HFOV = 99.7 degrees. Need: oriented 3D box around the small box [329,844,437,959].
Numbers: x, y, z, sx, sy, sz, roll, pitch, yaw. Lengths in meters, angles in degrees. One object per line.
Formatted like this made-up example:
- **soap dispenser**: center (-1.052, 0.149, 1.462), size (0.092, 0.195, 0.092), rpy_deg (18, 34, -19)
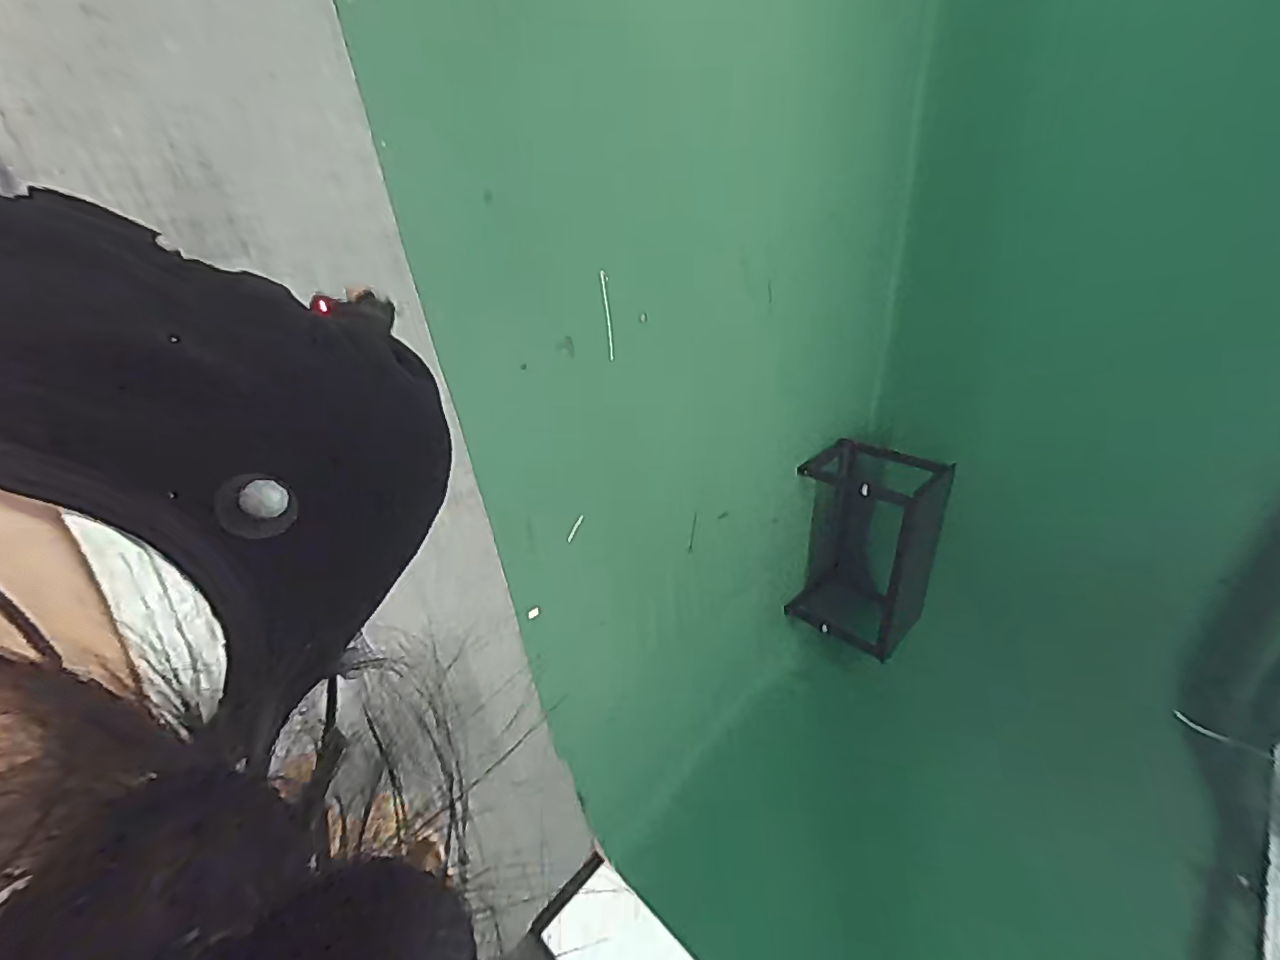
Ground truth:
- **small box**: center (-0.656, 1.083, 1.382), size (0.168, 0.176, 0.179), rpy_deg (-36, 132, -35)
